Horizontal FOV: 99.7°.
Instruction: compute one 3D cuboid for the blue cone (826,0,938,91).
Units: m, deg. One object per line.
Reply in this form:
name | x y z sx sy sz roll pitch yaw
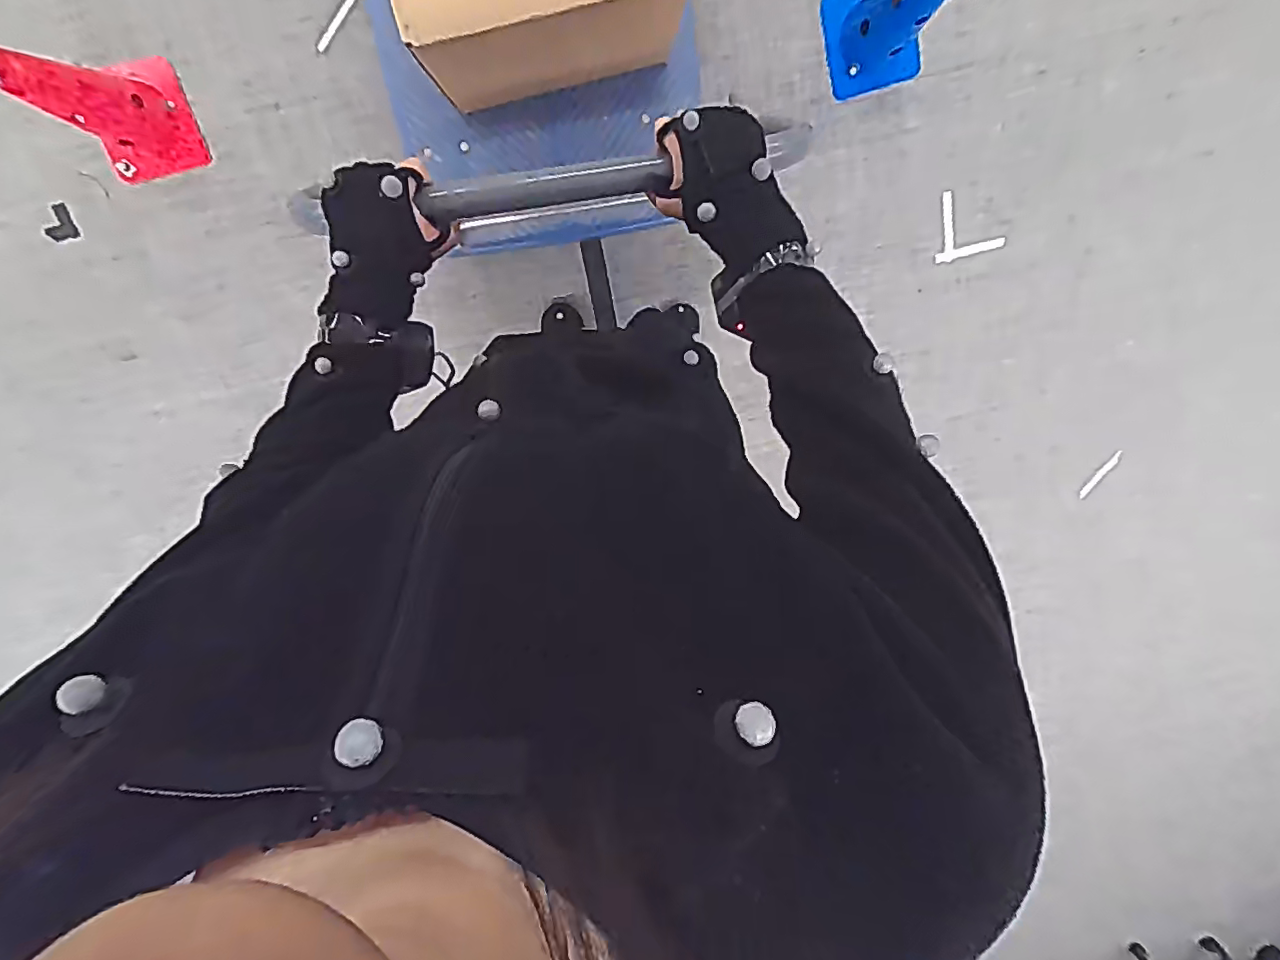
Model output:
blue cone | 0.516 -0.909 1.009 0.193 0.380 0.192 -16 109 1
